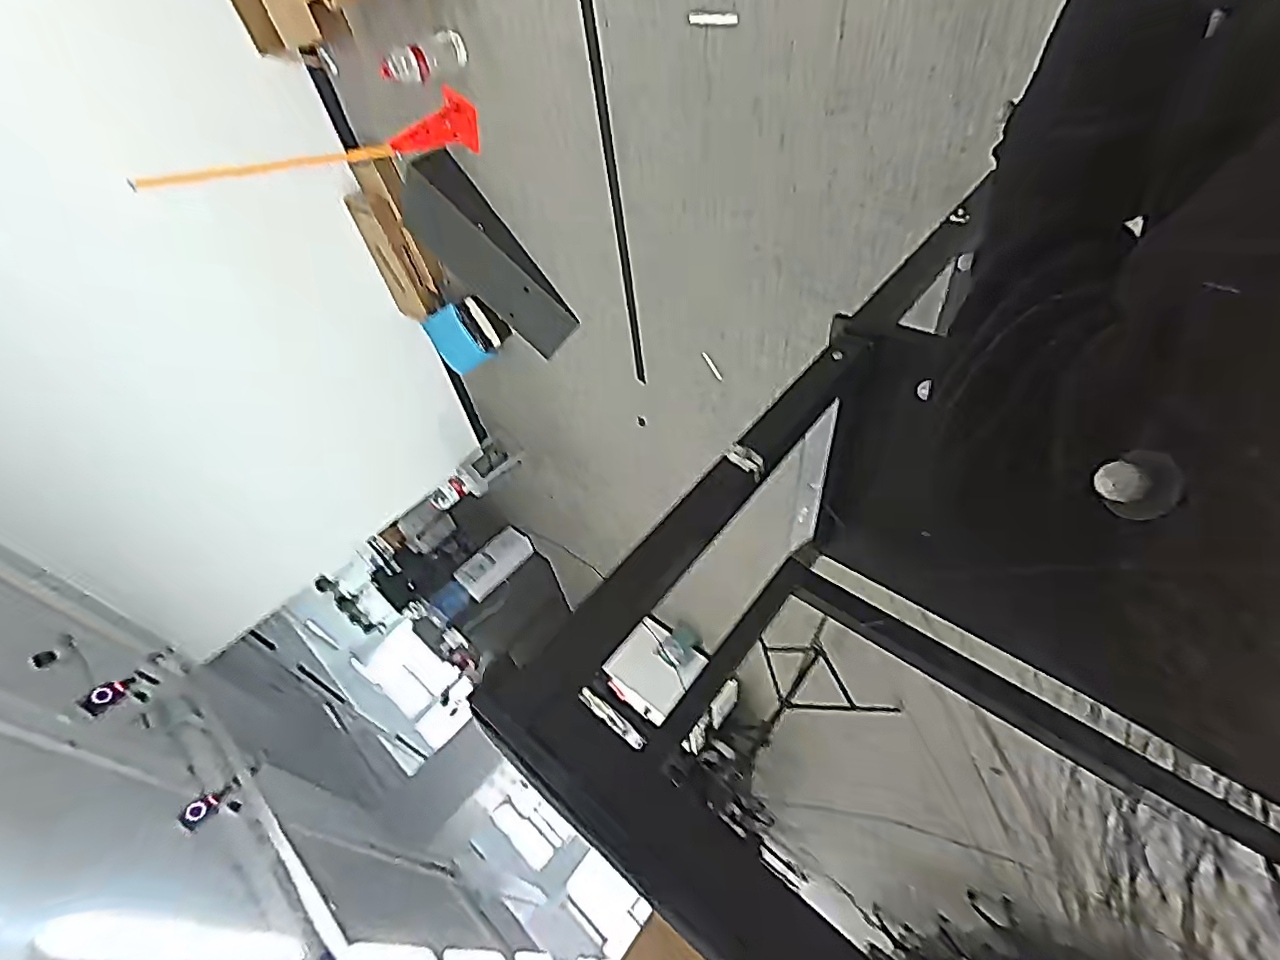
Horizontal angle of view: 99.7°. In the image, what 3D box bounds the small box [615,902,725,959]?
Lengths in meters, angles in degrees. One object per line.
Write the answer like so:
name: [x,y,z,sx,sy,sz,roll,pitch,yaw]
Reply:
small box: [0.031,0.474,0.422,0.168,0.176,0.179,29,149,29]
